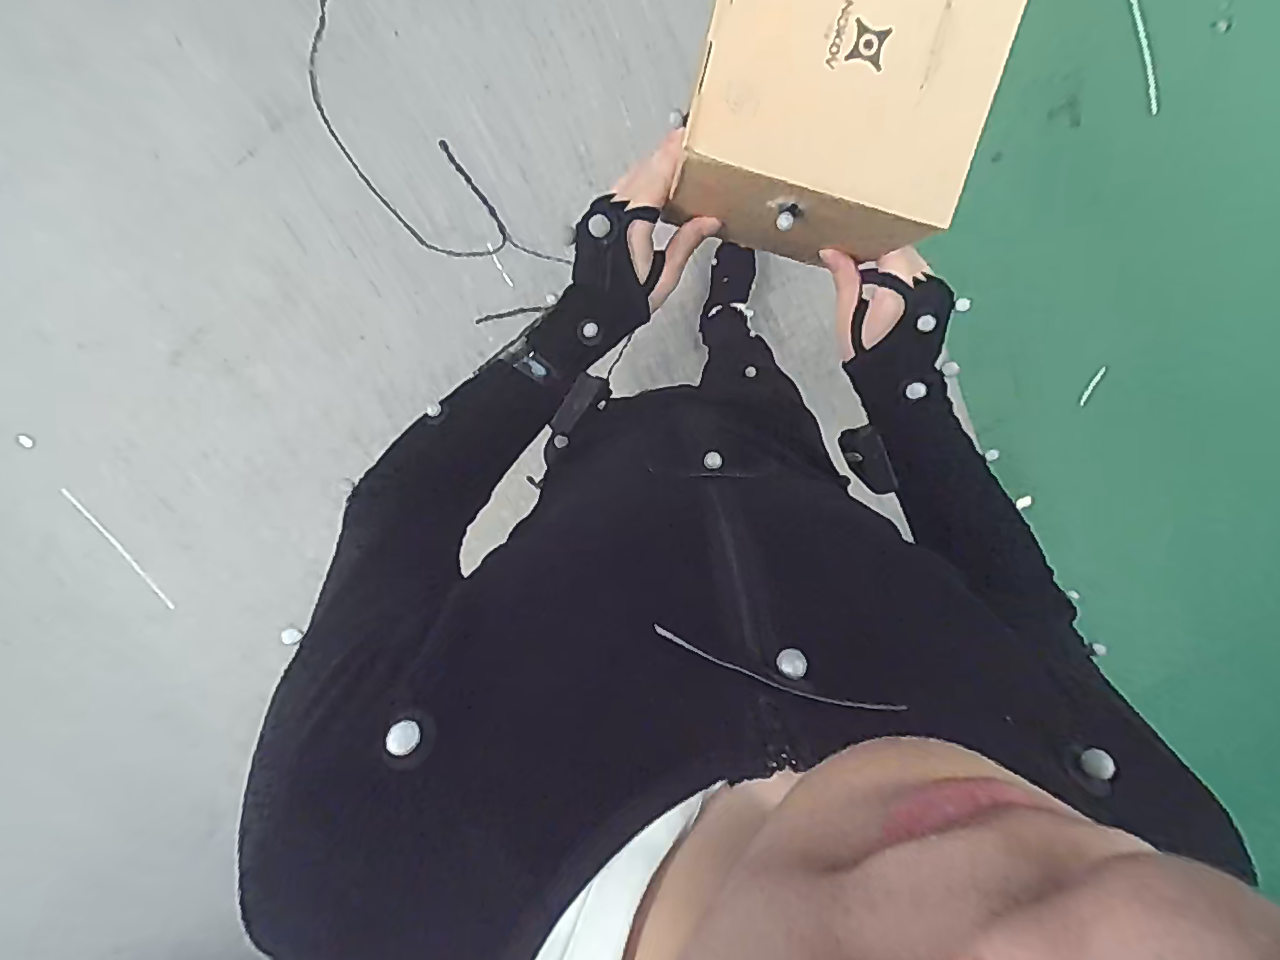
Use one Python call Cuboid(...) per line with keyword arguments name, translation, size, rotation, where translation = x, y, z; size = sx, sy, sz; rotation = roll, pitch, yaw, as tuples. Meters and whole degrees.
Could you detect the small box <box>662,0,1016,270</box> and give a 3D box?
Cuboid(name="small box", translation=(0.120, -0.268, 0.396), size=(0.179, 0.176, 0.168), rotation=(14, 101, -5))
